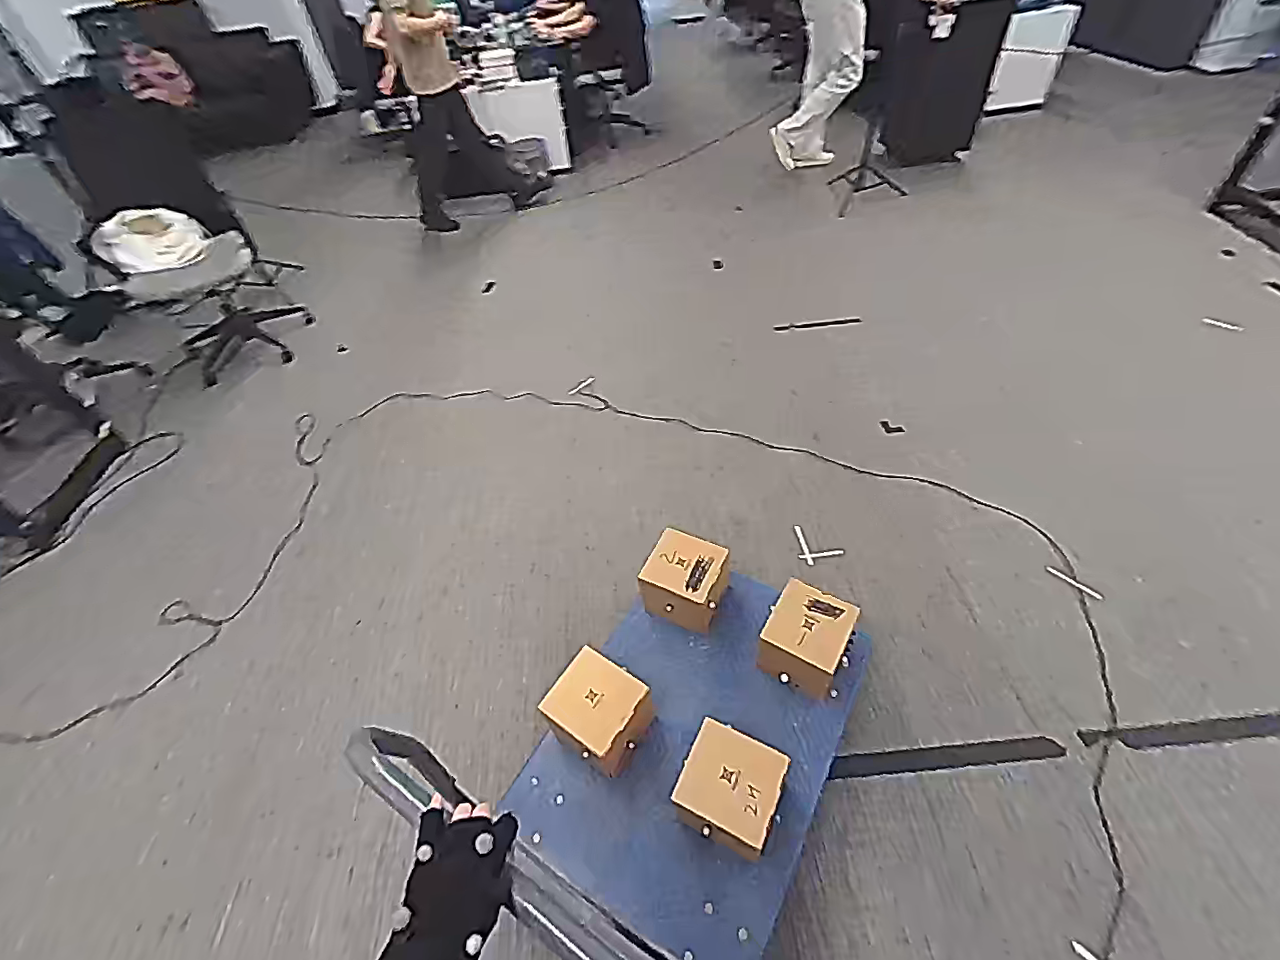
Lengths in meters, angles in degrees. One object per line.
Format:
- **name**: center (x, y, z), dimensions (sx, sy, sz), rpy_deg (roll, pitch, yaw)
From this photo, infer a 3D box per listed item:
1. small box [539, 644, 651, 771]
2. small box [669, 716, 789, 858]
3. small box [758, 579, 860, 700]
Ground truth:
- **small box**: center (-0.092, 0.501, 1.184), dimensions (0.179, 0.176, 0.168), rpy_deg (26, 56, 25)
- **small box**: center (0.172, 0.604, 1.059), dimensions (0.179, 0.176, 0.168), rpy_deg (20, 54, 22)
- **small box**: center (0.381, 0.368, 1.244), dimensions (0.168, 0.176, 0.179), rpy_deg (24, 56, 25)
